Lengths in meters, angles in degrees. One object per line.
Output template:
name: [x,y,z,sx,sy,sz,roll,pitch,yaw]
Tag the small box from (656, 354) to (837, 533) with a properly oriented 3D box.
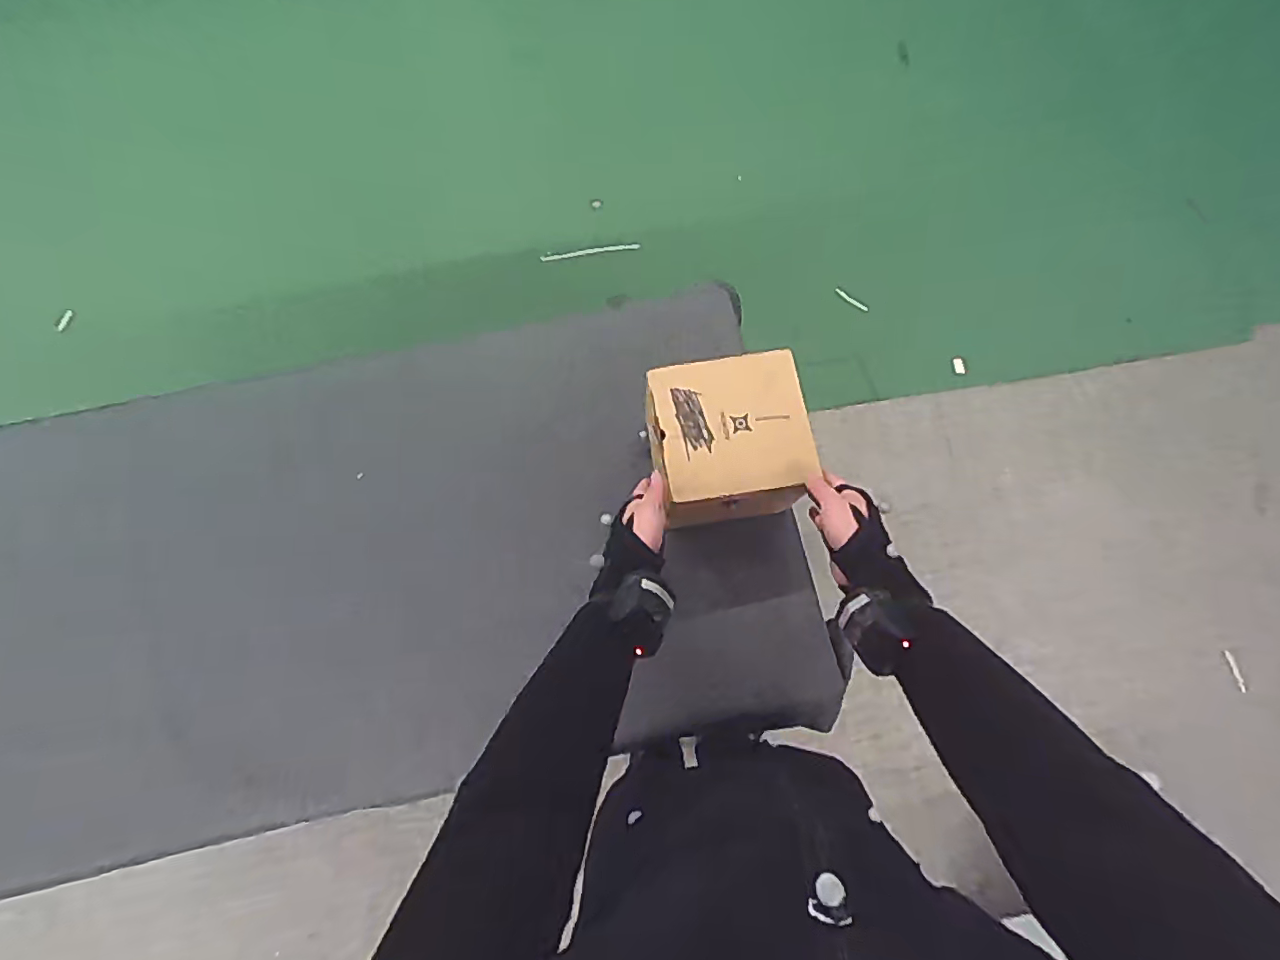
small box: [0.117,-0.037,0.683,0.179,0.176,0.168,-8,73,-5]
